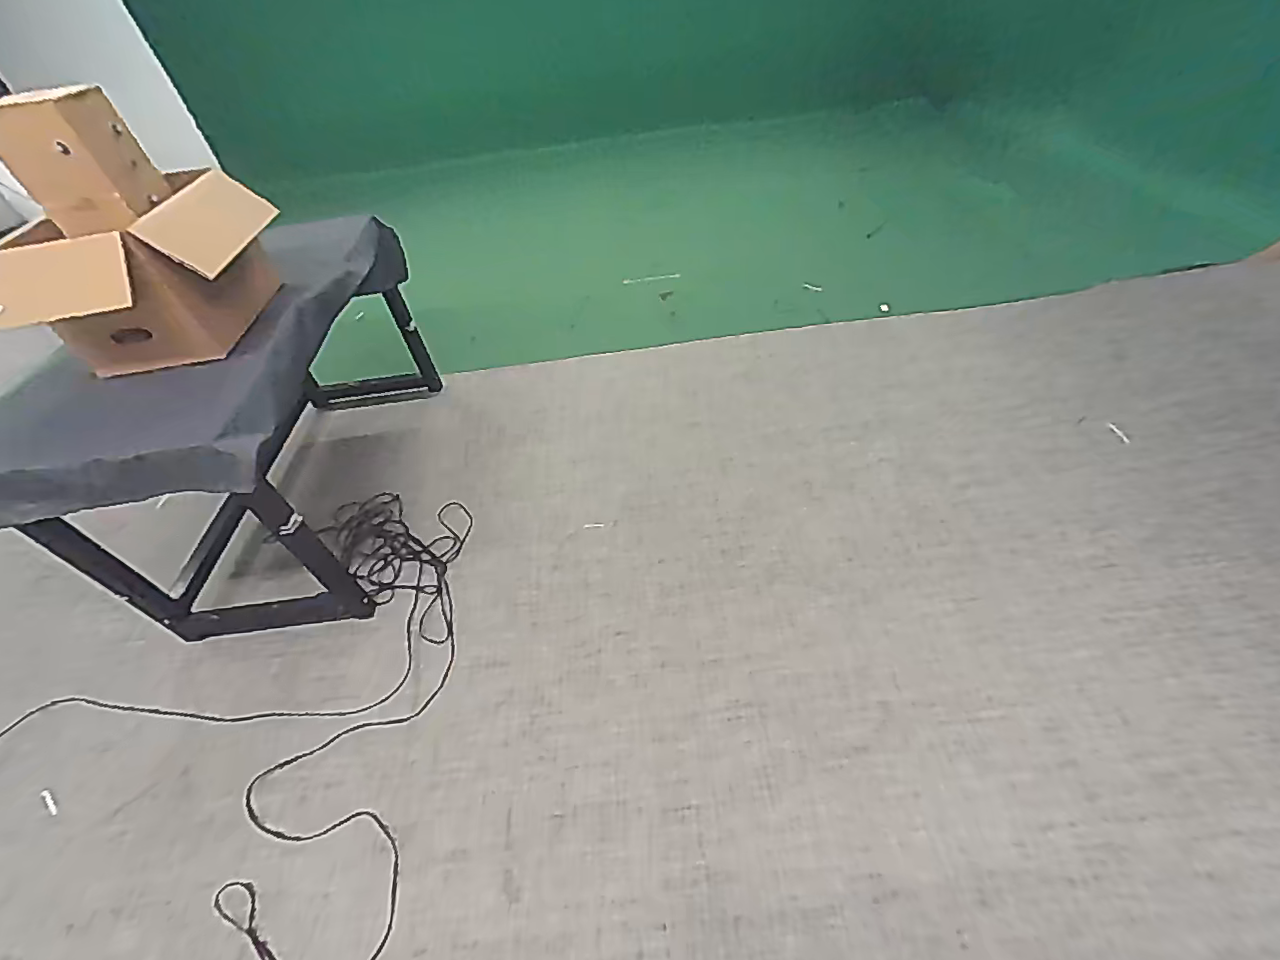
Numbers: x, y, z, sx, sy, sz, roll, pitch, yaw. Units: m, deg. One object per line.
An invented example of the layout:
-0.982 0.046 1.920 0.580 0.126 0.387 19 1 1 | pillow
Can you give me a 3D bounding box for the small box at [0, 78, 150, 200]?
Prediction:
-1.196 -0.710 1.129 0.179 0.176 0.168 -11 45 -2 | small box
